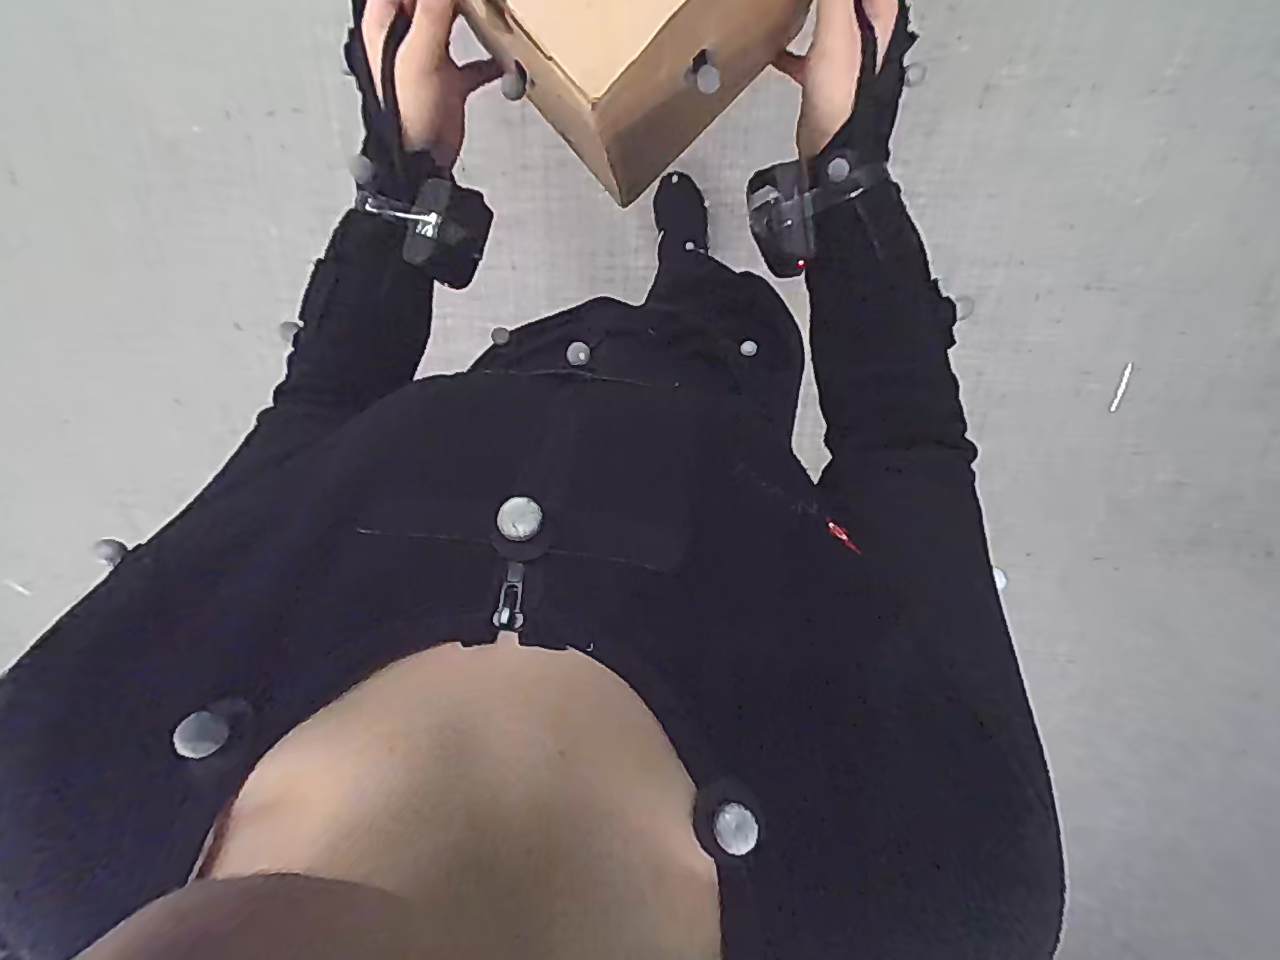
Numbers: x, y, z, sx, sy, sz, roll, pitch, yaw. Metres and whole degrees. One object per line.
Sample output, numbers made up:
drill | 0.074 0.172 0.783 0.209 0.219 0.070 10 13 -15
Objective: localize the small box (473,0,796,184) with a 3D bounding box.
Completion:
small box | -0.006 -0.317 0.316 0.179 0.176 0.168 -41 96 12
